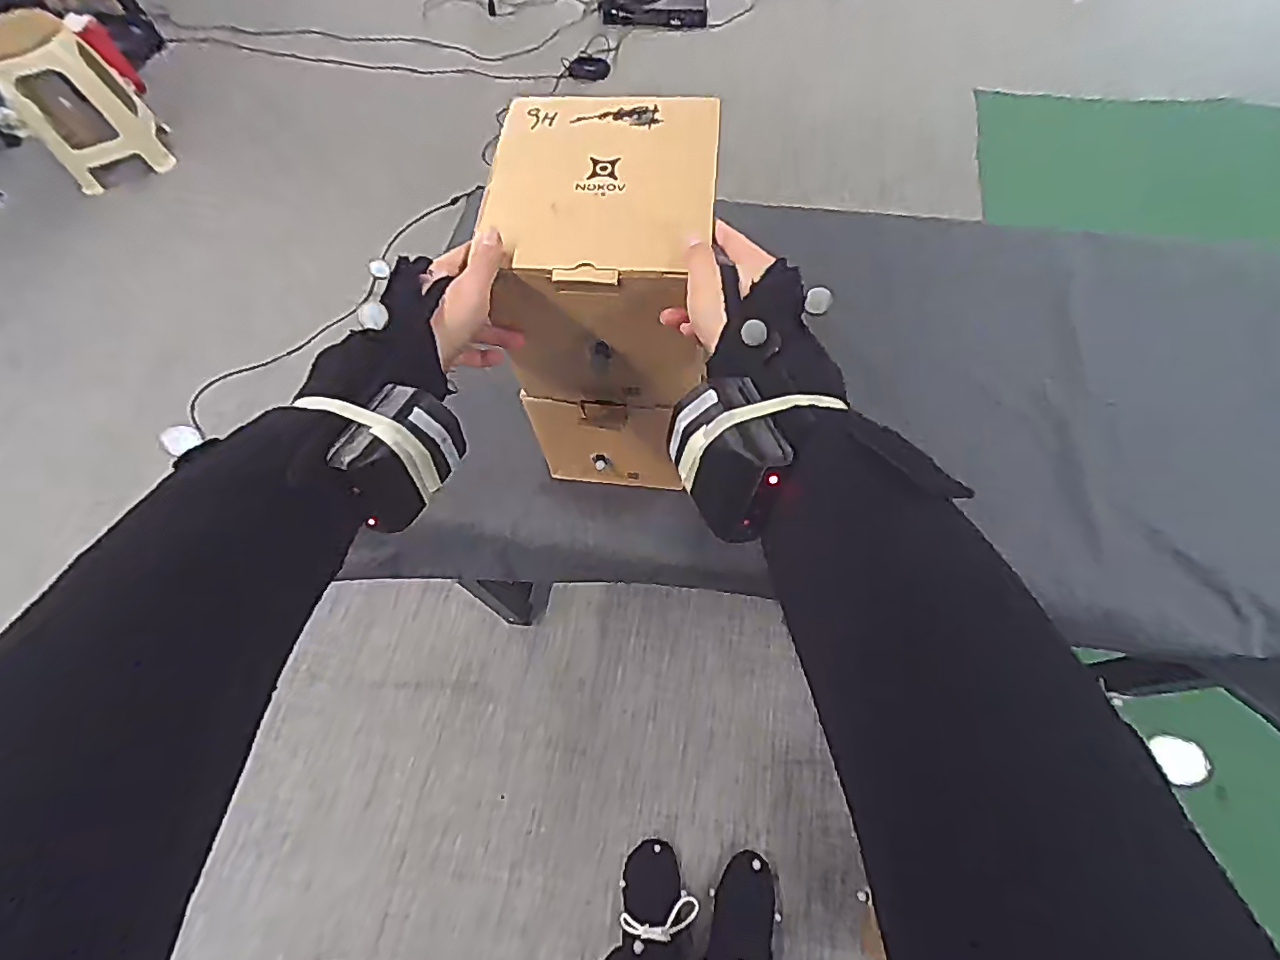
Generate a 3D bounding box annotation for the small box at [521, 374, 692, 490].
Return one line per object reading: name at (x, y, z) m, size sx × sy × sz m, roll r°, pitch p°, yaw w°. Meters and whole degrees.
small box at (-0.023, -0.108, 0.617) m, size 0.168 × 0.176 × 0.179 m, roll 5°, pitch 63°, yaw 5°

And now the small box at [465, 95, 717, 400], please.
small box at (-0.025, -0.182, 0.457) m, size 0.168 × 0.176 × 0.179 m, roll 3°, pitch 69°, yaw 5°
